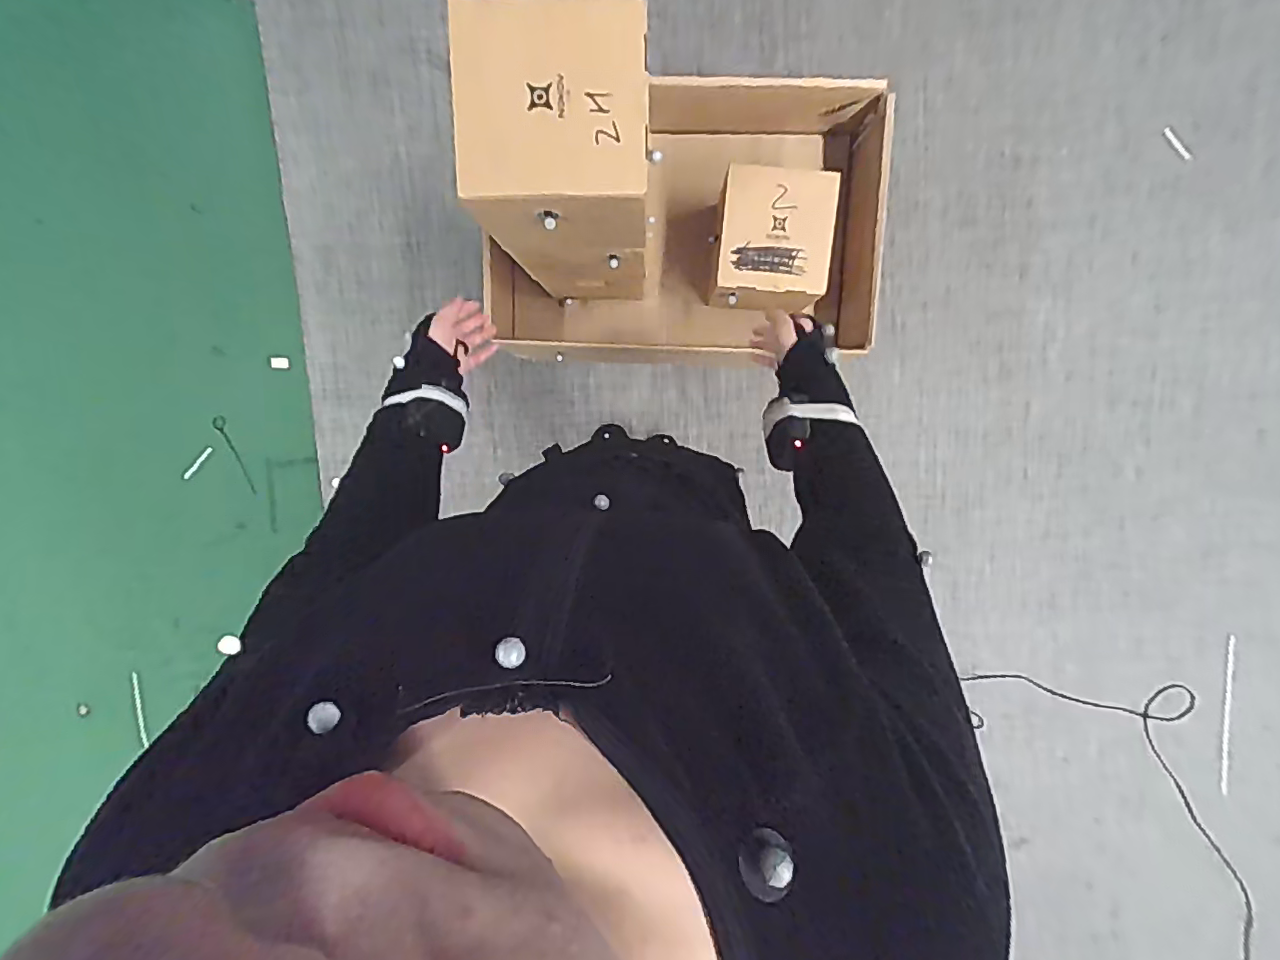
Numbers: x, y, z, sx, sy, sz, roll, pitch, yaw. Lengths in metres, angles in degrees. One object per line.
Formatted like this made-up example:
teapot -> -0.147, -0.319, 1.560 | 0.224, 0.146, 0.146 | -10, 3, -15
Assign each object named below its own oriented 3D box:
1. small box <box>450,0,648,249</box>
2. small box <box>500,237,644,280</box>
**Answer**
small box -> -0.081, -0.347, 0.561 | 0.179, 0.176, 0.168 | 0, 98, -1
small box -> -0.082, -0.372, 0.724 | 0.179, 0.176, 0.168 | 1, 98, -1
